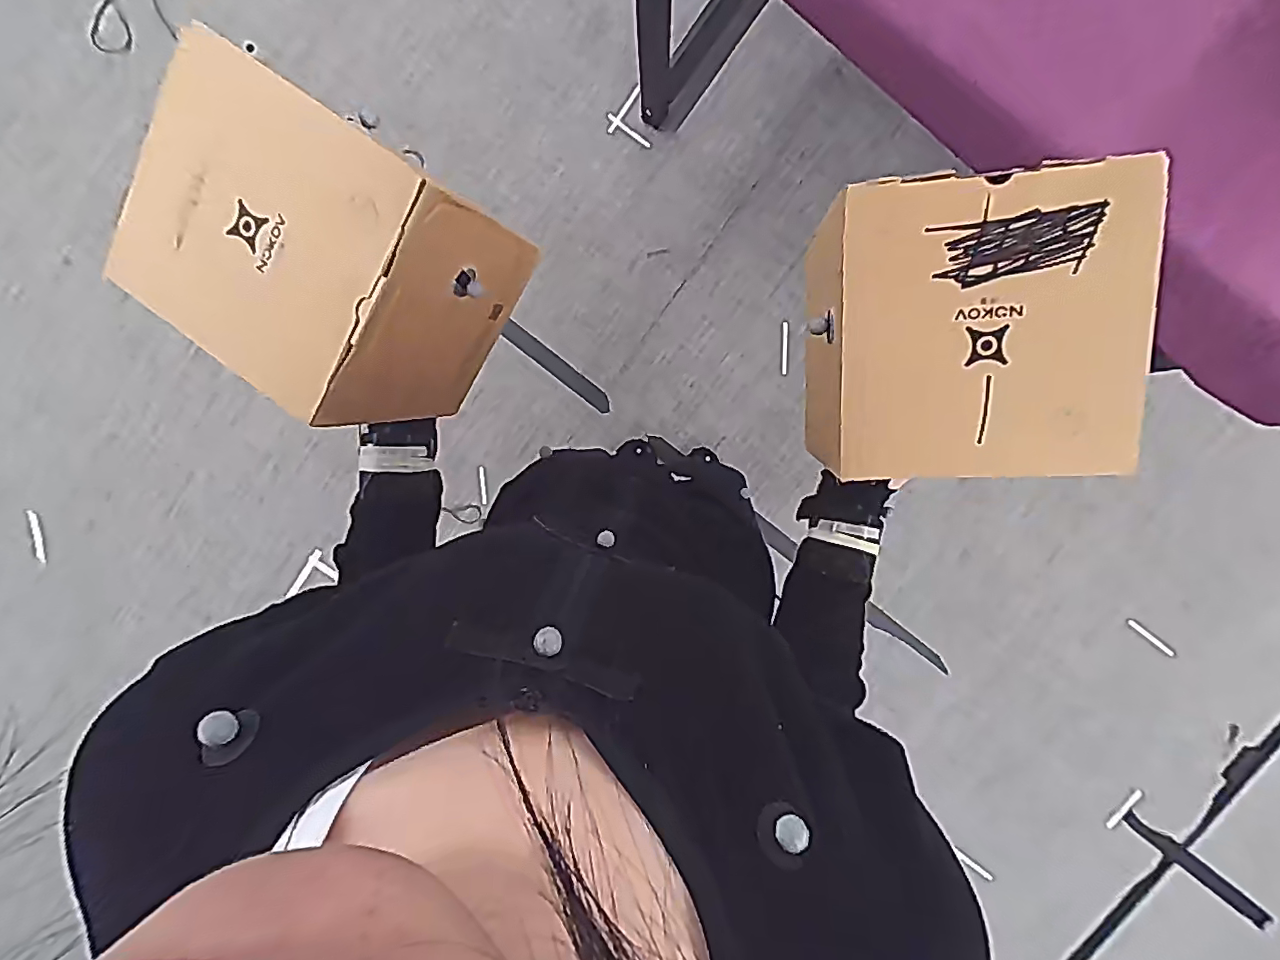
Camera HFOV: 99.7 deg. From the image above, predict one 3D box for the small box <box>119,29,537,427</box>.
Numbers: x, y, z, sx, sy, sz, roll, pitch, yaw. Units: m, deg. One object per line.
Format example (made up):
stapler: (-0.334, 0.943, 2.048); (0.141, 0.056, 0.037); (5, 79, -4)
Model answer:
small box: (-0.205, -0.159, 0.399); (0.179, 0.176, 0.168); (35, 104, 5)

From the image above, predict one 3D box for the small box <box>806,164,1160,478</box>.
small box: (0.218, -0.100, 0.398); (0.168, 0.176, 0.179); (-1, 100, 10)
